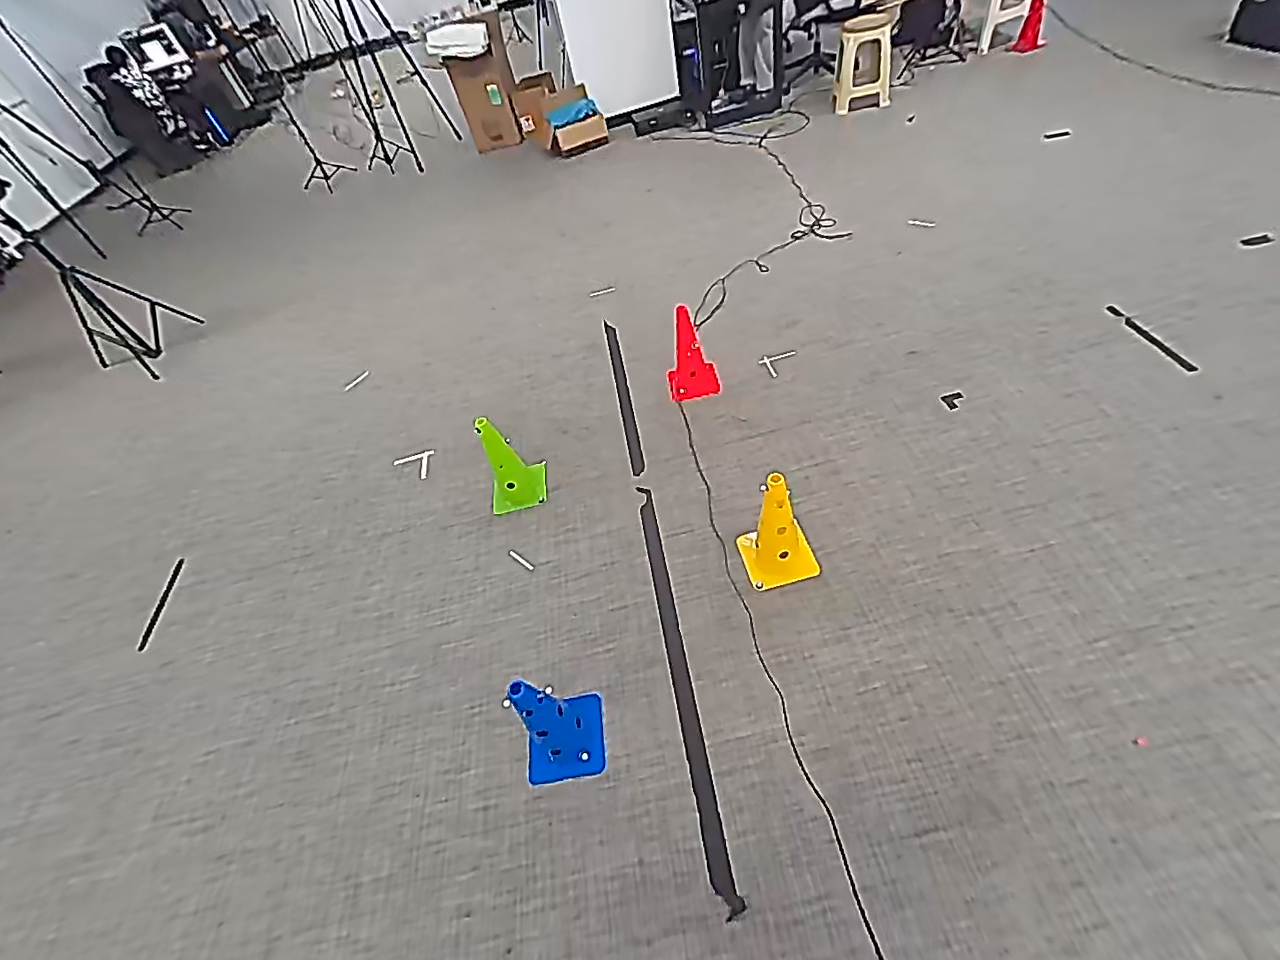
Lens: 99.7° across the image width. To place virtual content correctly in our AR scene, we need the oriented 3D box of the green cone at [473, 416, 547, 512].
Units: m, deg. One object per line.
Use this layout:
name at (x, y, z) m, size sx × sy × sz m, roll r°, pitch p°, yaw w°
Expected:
green cone at (-0.481, -0.085, 1.884) m, size 0.202 × 0.368 × 0.200 m, roll -15°, pitch 48°, yaw 4°

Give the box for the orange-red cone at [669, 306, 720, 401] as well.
orange-red cone at (0.188, -0.507, 2.076) m, size 0.199 × 0.360 × 0.198 m, roll -10°, pitch 50°, yaw 5°

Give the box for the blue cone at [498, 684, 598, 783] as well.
blue cone at (-0.236, 0.563, 1.280) m, size 0.192 × 0.380 × 0.193 m, roll -12°, pitch 48°, yaw 6°
